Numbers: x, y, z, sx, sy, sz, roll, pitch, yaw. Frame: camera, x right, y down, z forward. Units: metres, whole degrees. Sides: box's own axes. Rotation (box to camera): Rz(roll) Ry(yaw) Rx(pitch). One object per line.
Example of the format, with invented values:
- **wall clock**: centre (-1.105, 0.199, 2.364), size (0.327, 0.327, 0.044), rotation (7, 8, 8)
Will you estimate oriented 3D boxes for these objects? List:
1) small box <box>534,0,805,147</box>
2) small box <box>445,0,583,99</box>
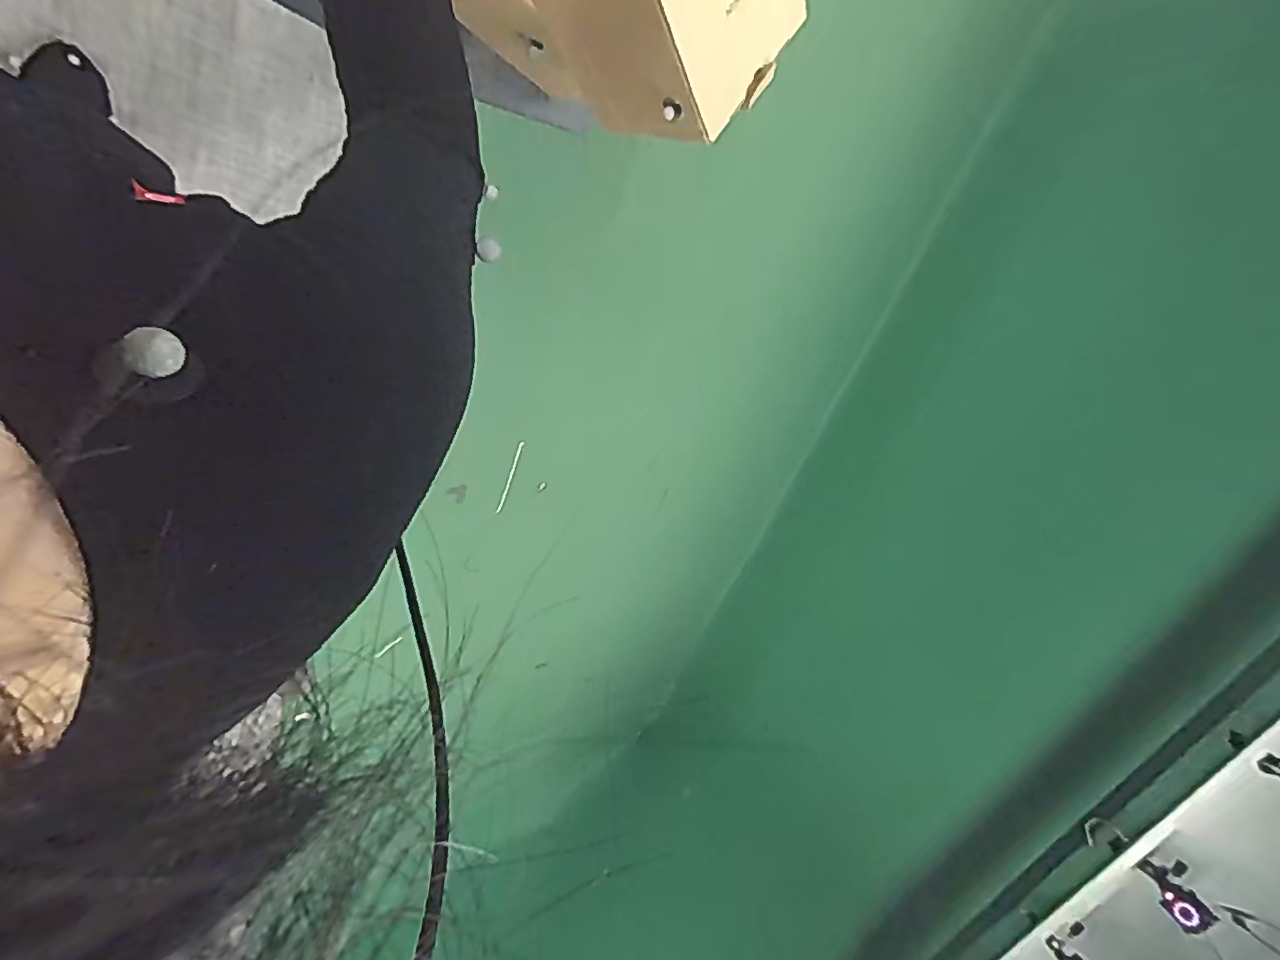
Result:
- **small box**: centre (0.023, -0.452, 0.503), size (0.168, 0.176, 0.179), rotation (-54, 146, -3)
- **small box**: centre (-0.083, -0.543, 0.588), size (0.179, 0.176, 0.168), rotation (5, 114, -50)
